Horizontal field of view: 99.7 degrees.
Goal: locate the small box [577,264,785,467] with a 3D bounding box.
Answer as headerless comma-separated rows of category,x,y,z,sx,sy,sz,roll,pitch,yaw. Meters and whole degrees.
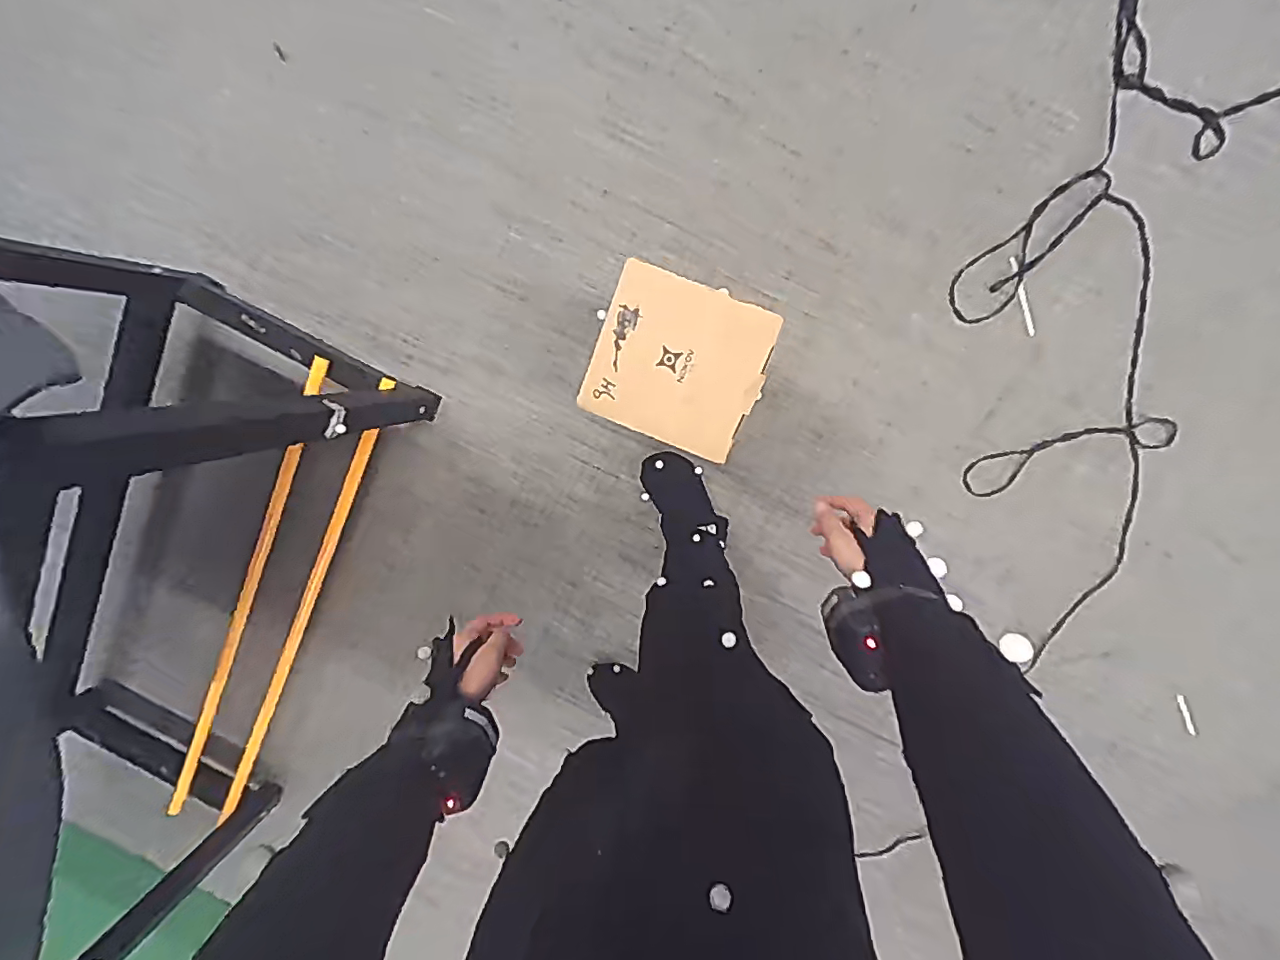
small box,0.047,-0.134,0.647,0.179,0.176,0.168,22,101,1
